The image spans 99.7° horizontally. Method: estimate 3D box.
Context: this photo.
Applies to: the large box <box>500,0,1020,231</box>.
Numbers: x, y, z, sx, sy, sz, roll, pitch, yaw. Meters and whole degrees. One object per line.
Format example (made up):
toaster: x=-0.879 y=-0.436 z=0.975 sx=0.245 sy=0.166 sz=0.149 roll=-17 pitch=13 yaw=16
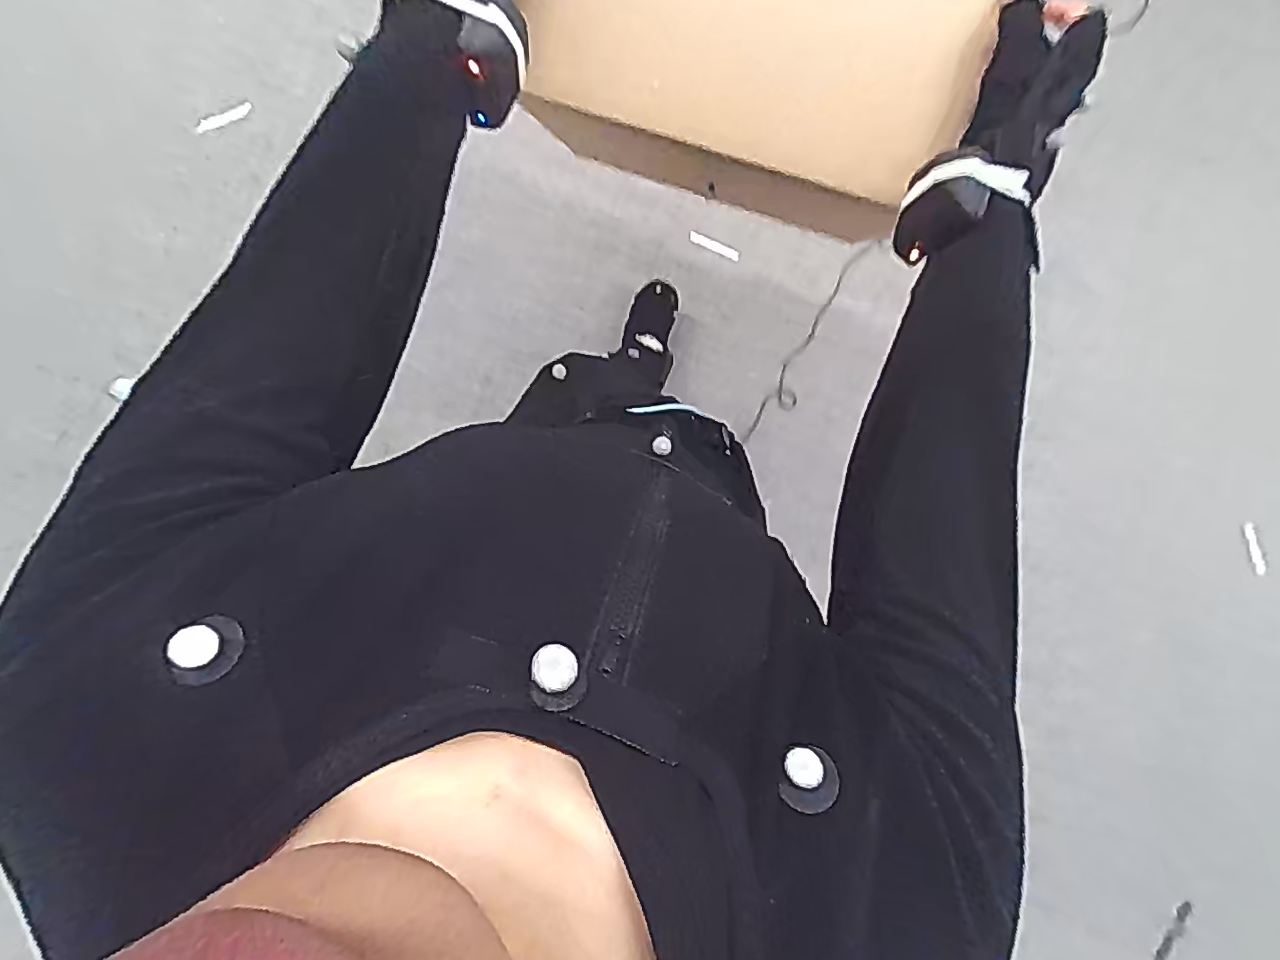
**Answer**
large box: x=0.125 y=-0.479 z=0.556 sx=0.408 sy=0.320 sz=0.320 roll=18 pitch=110 yaw=1
